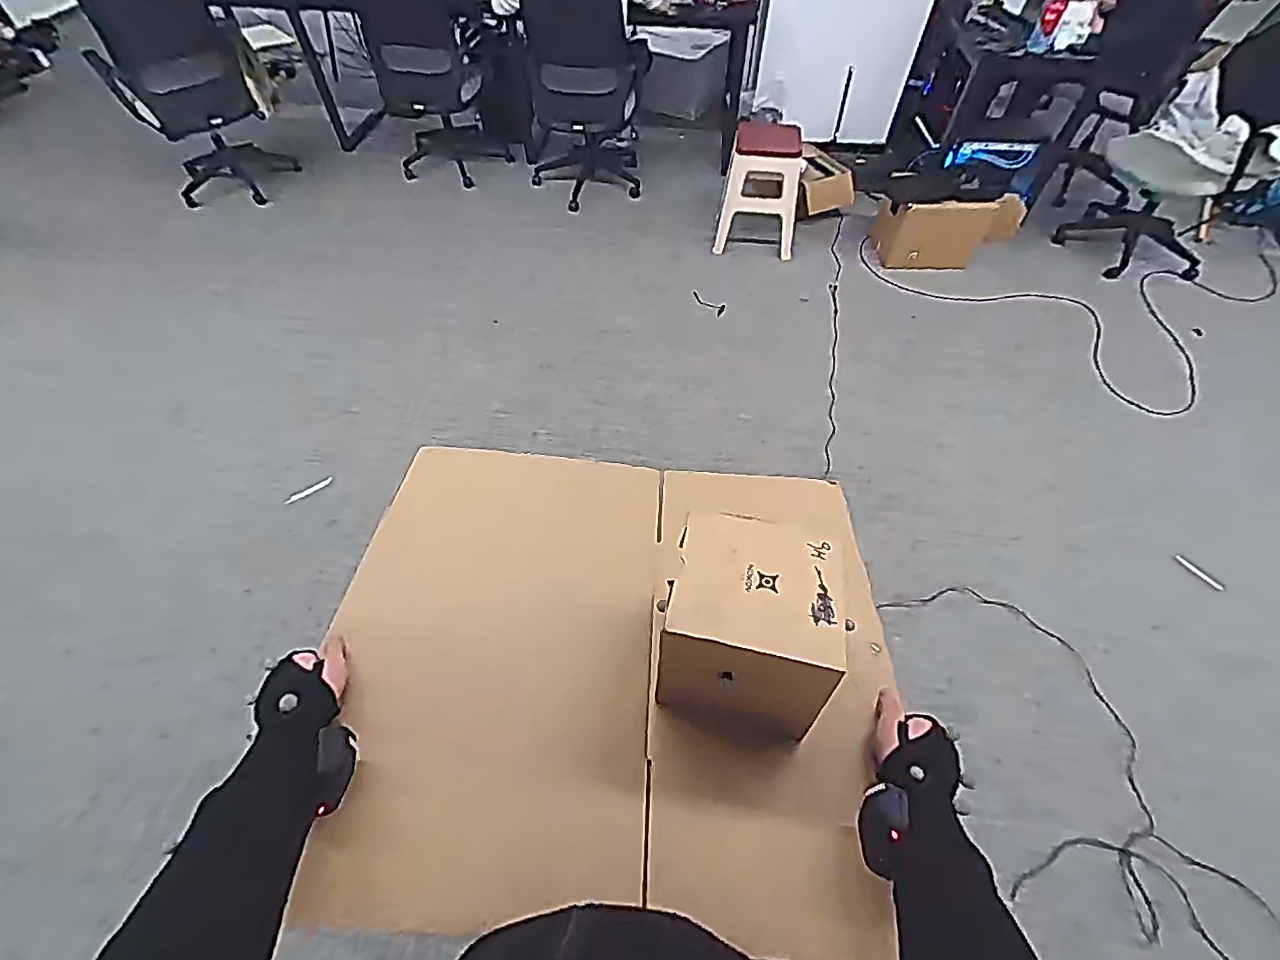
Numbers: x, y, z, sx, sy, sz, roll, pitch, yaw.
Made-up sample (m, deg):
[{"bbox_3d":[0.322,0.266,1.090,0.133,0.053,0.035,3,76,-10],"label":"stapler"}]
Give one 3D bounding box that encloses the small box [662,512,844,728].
[{"bbox_3d":[0.125,0.164,0.627,0.179,0.176,0.168,10,46,9],"label":"small box"}]
